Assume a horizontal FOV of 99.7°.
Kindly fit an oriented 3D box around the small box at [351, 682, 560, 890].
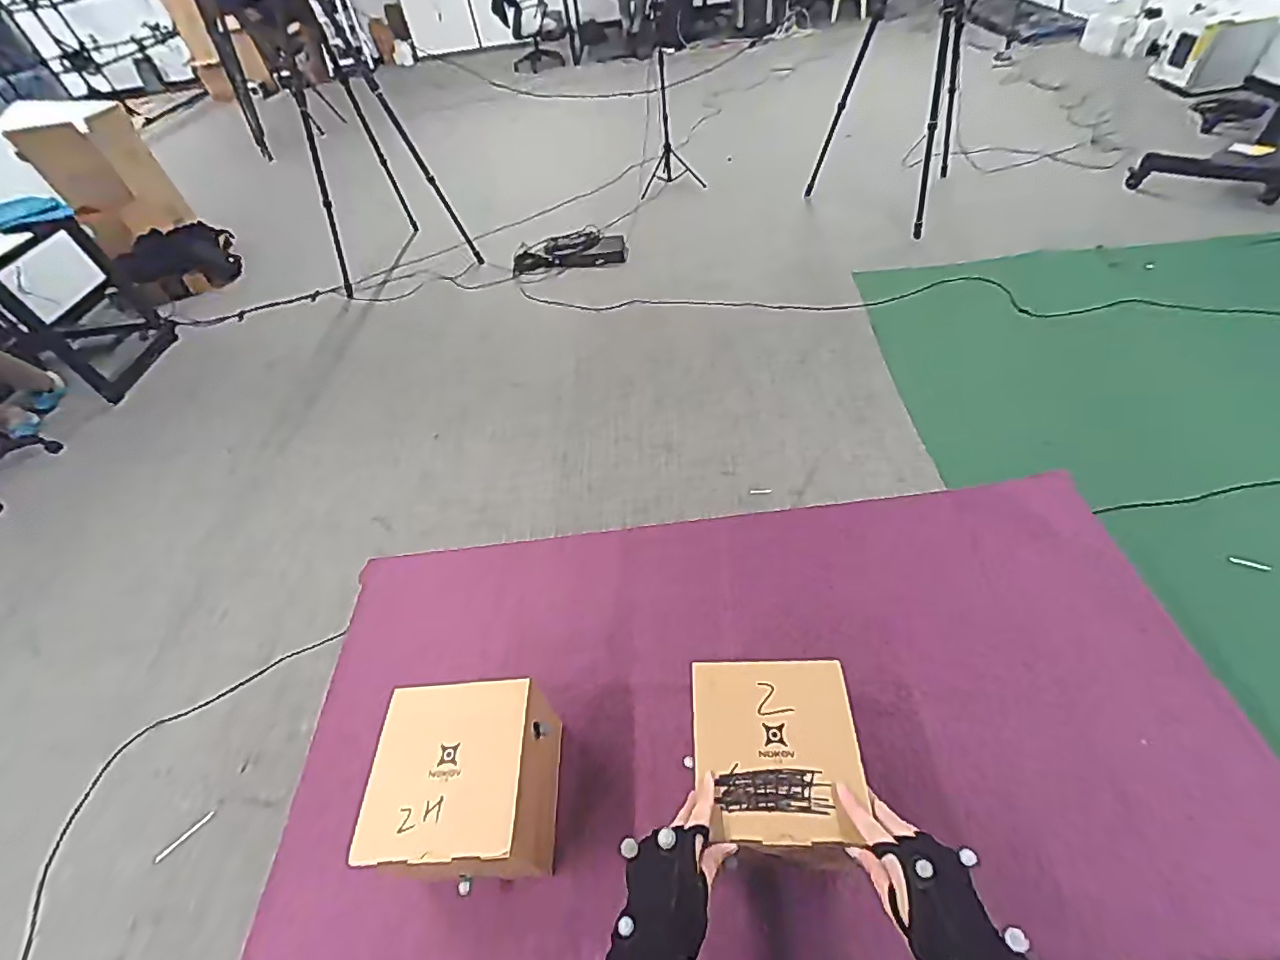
[{"bbox_3d":[-0.194,0.359,0.633,0.168,0.176,0.179,-7,48,4],"label":"small box"}]
